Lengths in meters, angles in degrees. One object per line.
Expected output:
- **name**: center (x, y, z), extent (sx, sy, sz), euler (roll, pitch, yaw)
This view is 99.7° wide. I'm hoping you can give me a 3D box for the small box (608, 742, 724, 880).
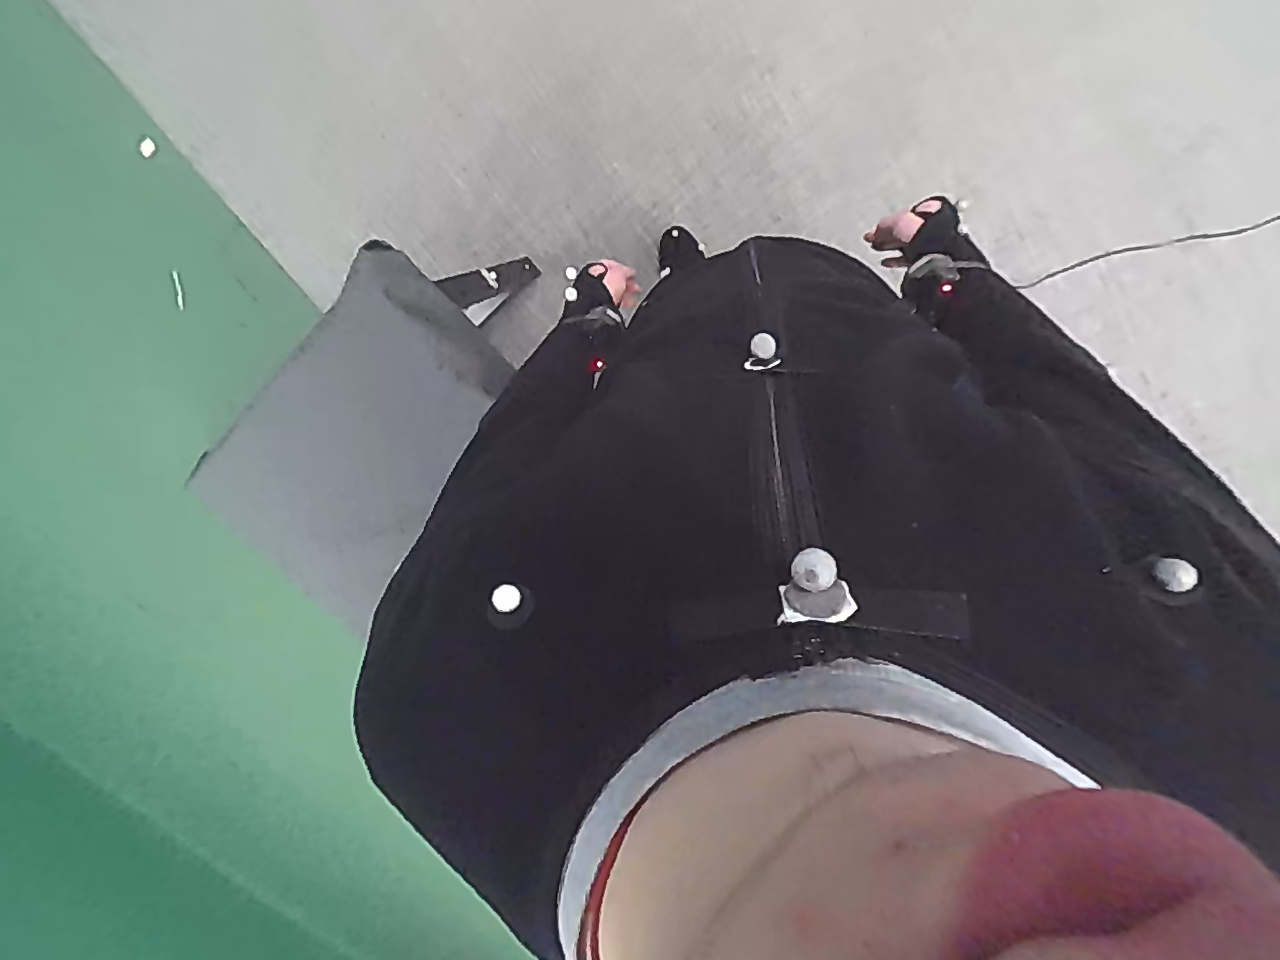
- **small box**: center (0.058, 0.690, 1.138), extent (0.179, 0.176, 0.168), euler (-35, 106, 22)
